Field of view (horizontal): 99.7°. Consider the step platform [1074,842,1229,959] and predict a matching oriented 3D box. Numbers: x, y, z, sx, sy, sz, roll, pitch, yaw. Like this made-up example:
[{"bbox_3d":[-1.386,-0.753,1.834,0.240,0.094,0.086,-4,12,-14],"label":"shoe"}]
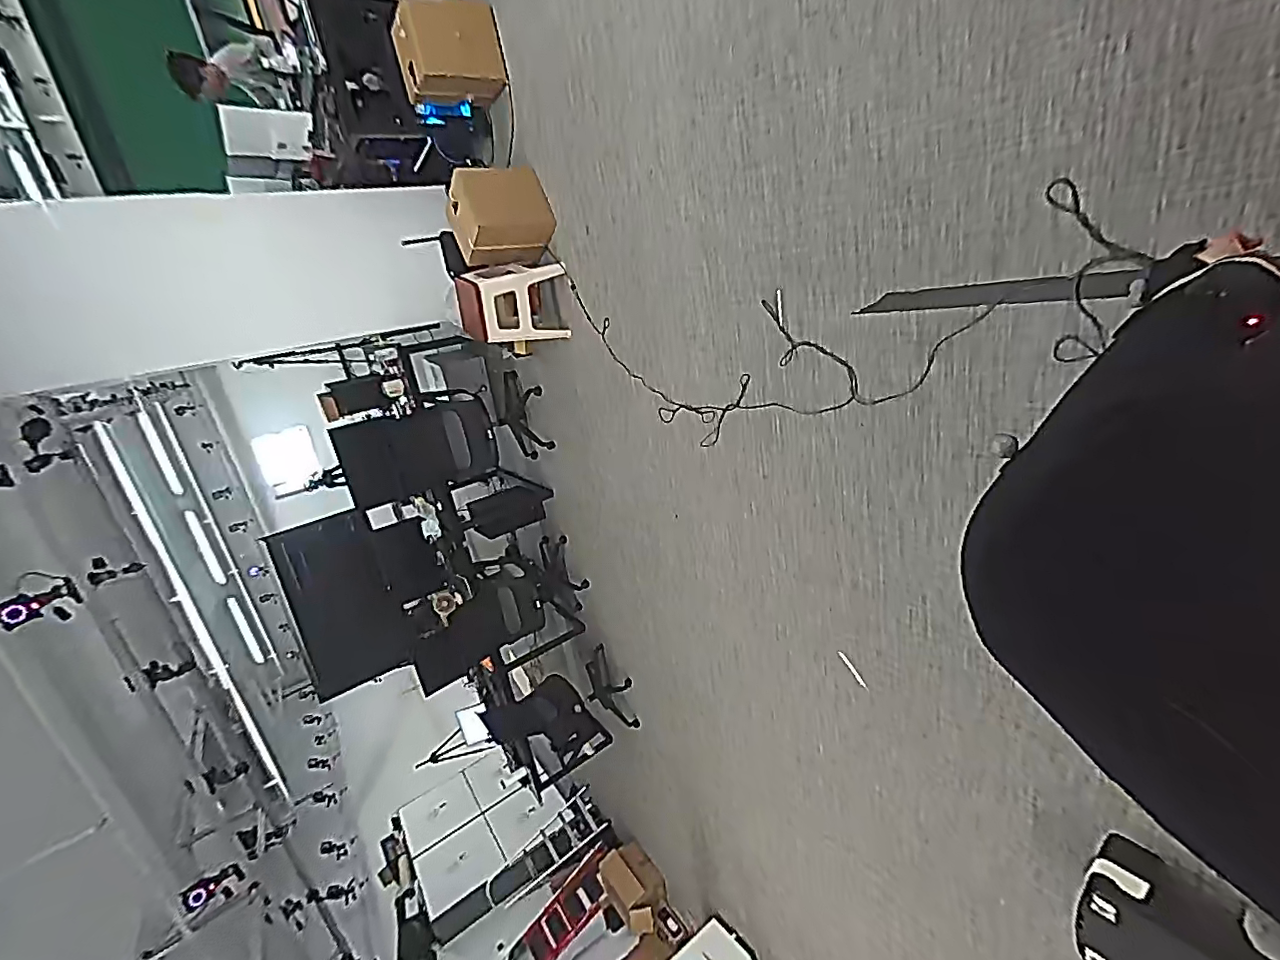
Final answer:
[{"bbox_3d":[1.376,1.161,1.169,0.684,0.204,0.286,16,123,53],"label":"step platform"}]
